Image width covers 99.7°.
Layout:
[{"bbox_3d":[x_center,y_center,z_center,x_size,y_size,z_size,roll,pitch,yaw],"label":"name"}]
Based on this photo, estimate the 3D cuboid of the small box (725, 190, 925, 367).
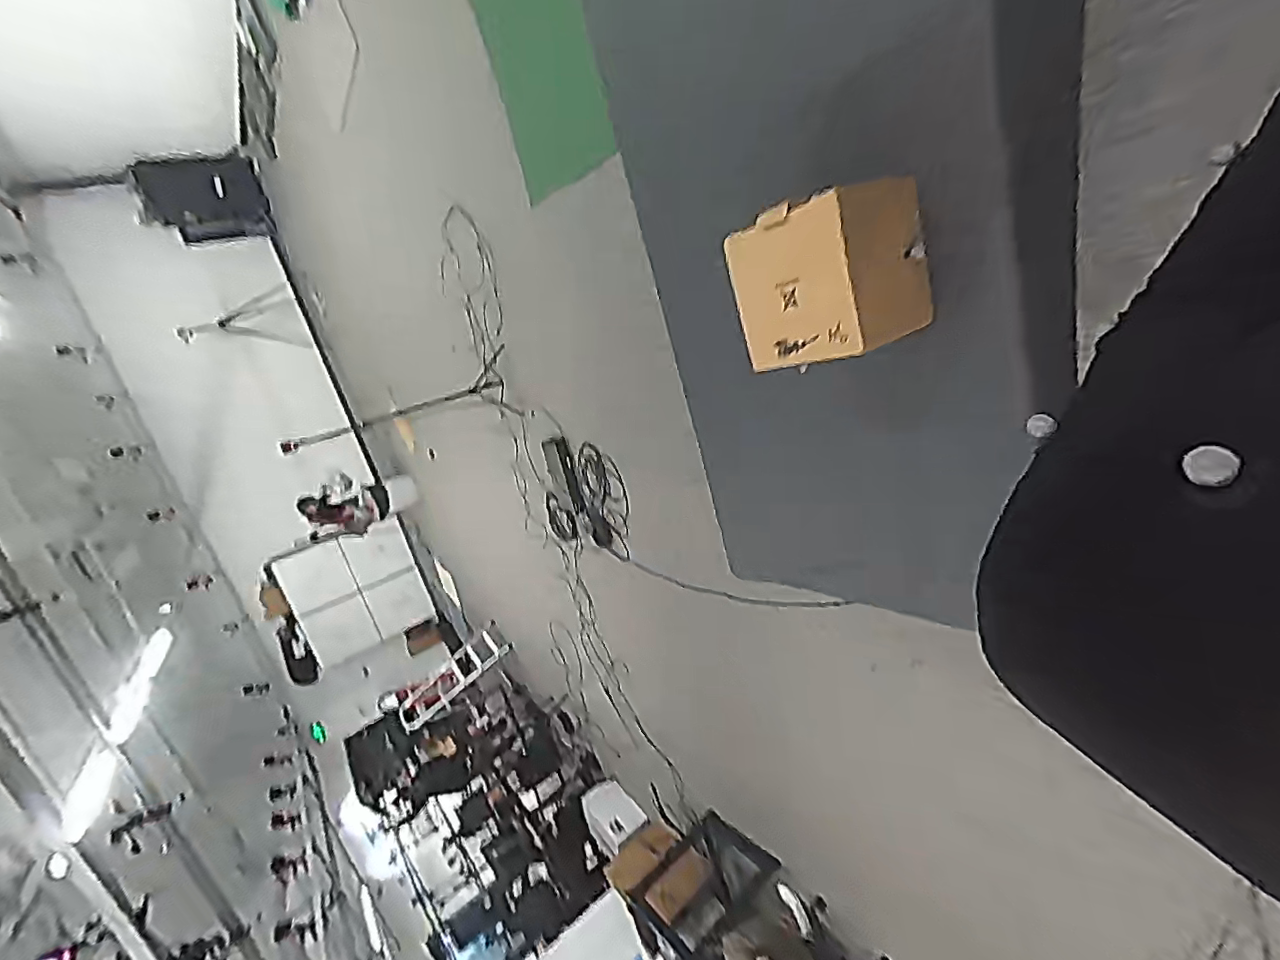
[{"bbox_3d":[0.242,-0.259,0.703,0.168,0.176,0.179,6,116,56],"label":"small box"}]
